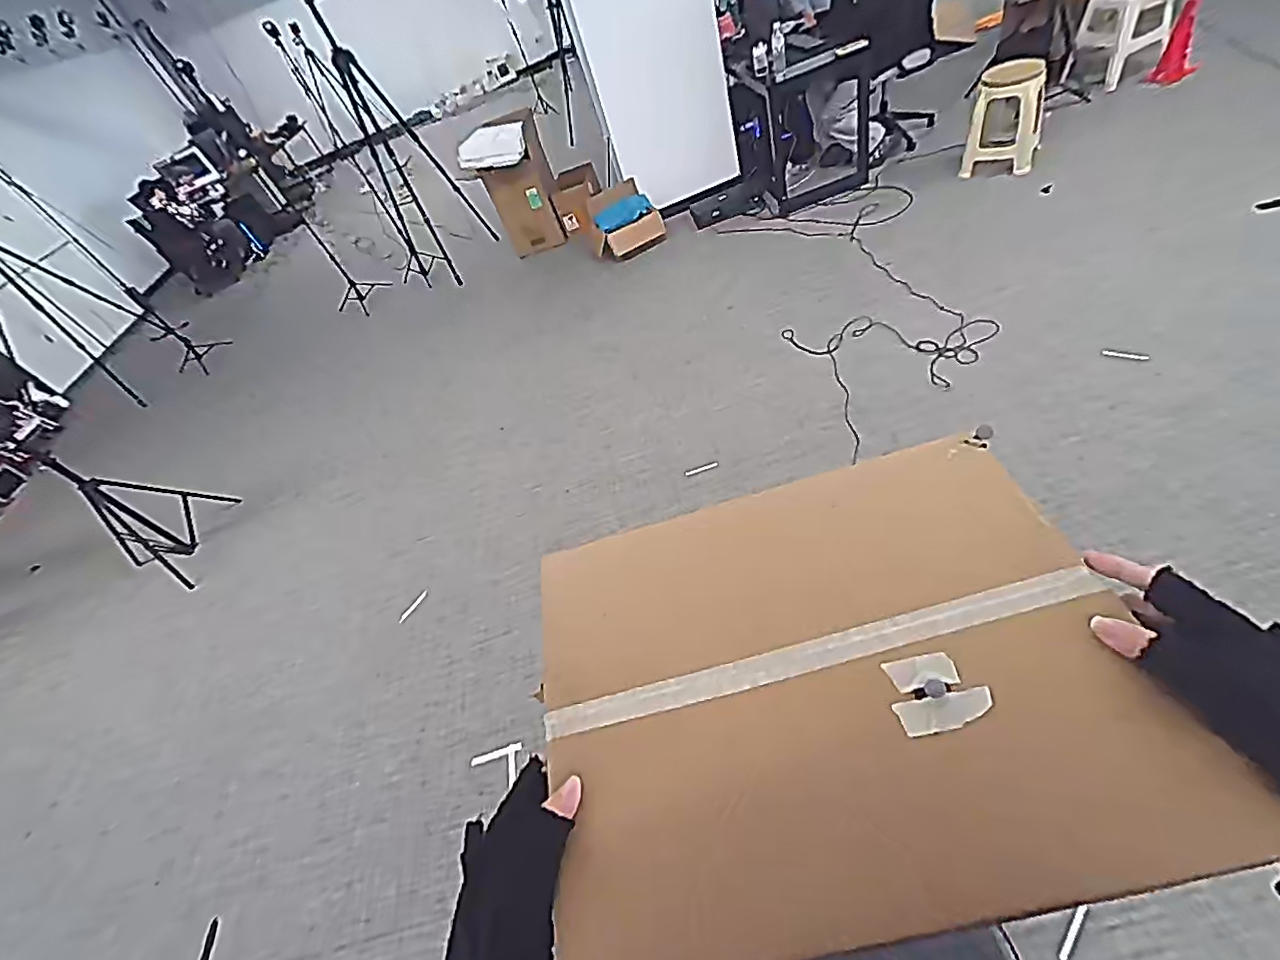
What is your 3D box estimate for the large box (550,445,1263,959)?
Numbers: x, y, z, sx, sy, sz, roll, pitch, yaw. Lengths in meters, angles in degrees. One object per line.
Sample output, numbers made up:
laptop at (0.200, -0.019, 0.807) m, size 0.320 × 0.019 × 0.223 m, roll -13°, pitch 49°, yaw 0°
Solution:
large box at (0.163, 0.229, 0.514) m, size 0.408 × 0.320 × 0.320 m, roll -17°, pitch 48°, yaw 5°
